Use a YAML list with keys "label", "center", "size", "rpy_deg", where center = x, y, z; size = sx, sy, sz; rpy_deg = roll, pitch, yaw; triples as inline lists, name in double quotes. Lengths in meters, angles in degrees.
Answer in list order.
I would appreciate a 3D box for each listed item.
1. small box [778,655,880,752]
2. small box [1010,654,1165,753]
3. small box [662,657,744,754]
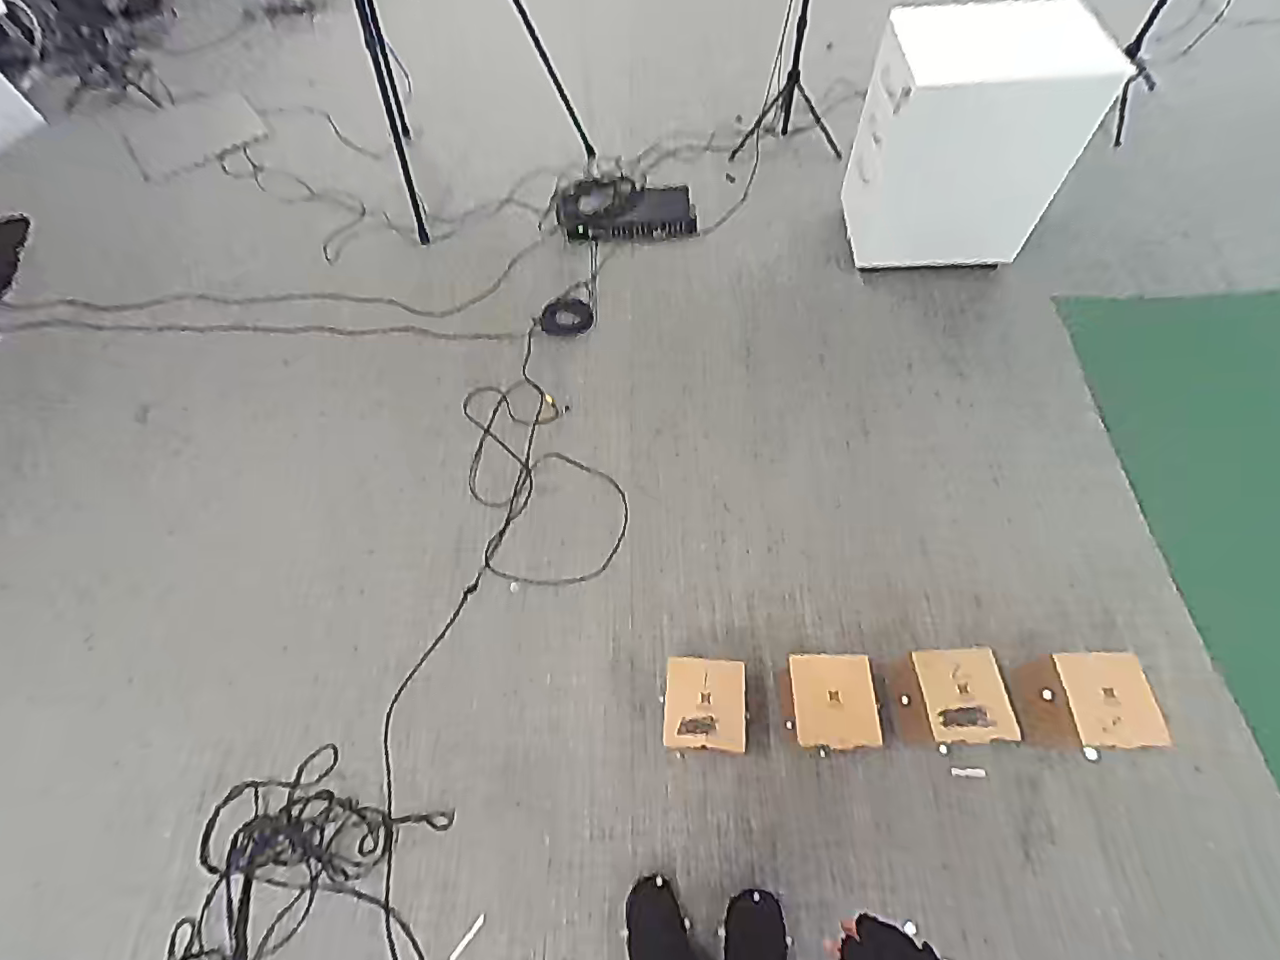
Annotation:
- label: "small box"
  center: [0.401, 0.490, 1.181]
  size: [0.168, 0.176, 0.179]
  rpy_deg: [-1, 61, 5]
- label: "small box"
  center: [0.930, 0.477, 1.147]
  size: [0.168, 0.176, 0.179]
  rpy_deg: [-1, 62, 4]
- label: "small box"
  center: [0.140, 0.502, 1.194]
  size: [0.168, 0.176, 0.179]
  rpy_deg: [3, 61, 6]
